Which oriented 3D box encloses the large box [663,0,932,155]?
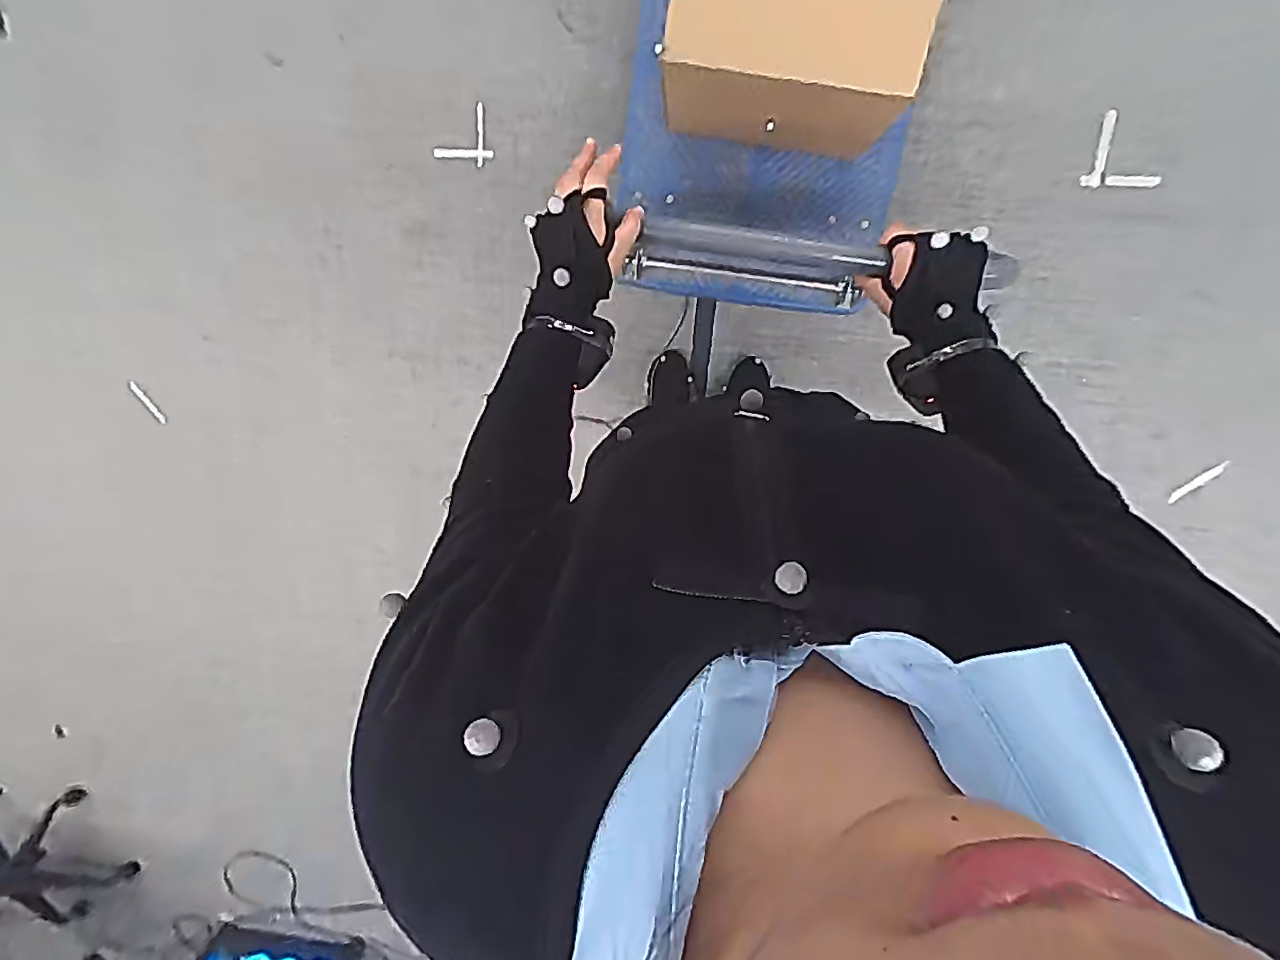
[{"bbox_3d":[0.269,-0.819,0.968,0.408,0.320,0.320,10,104,3],"label":"large box"}]
